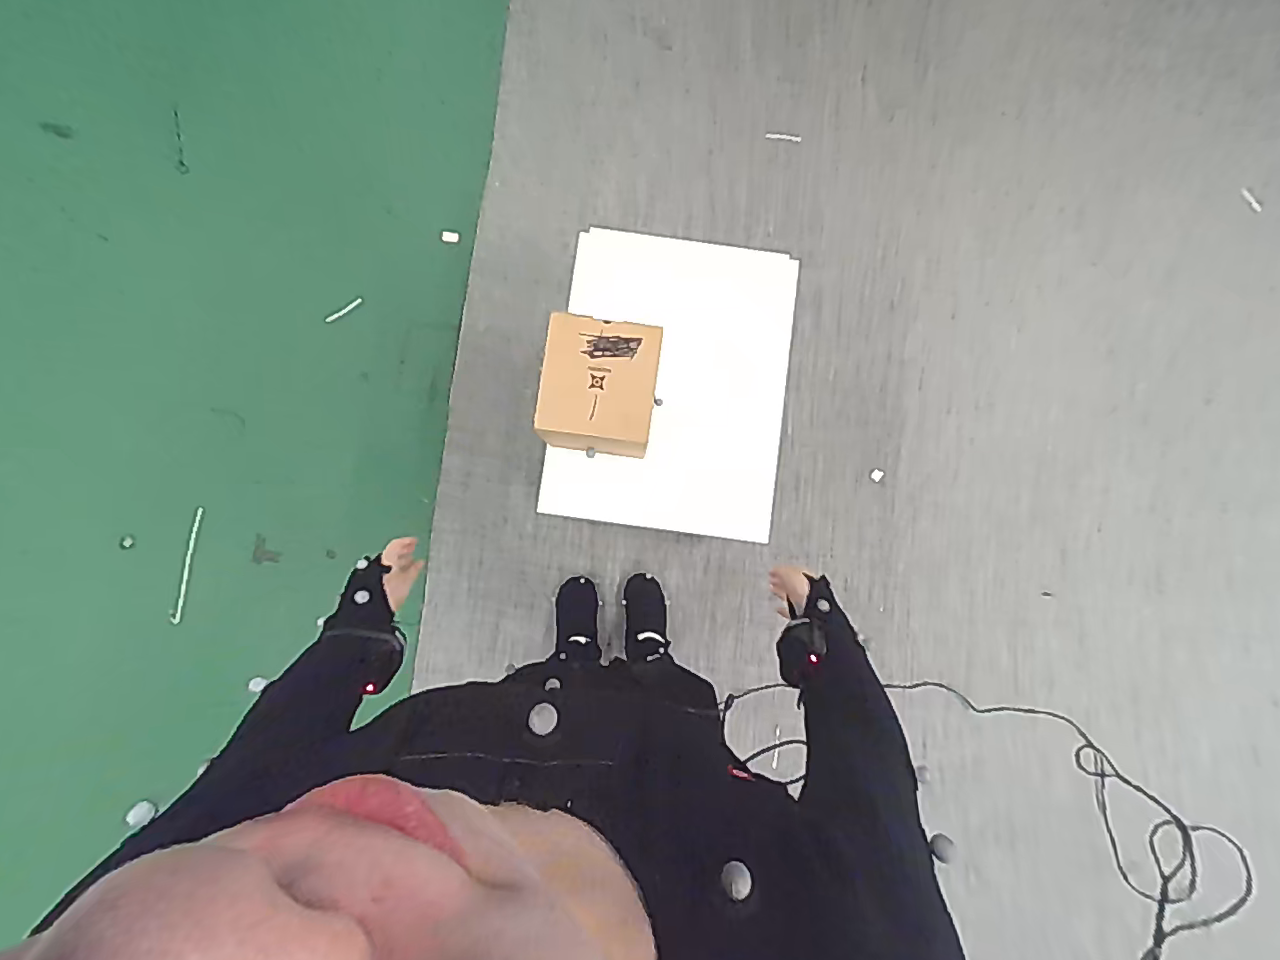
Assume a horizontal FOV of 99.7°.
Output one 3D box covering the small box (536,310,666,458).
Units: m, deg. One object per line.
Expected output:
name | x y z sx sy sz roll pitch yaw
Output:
small box | -0.057 -0.141 0.852 0.168 0.176 0.179 8 84 0
